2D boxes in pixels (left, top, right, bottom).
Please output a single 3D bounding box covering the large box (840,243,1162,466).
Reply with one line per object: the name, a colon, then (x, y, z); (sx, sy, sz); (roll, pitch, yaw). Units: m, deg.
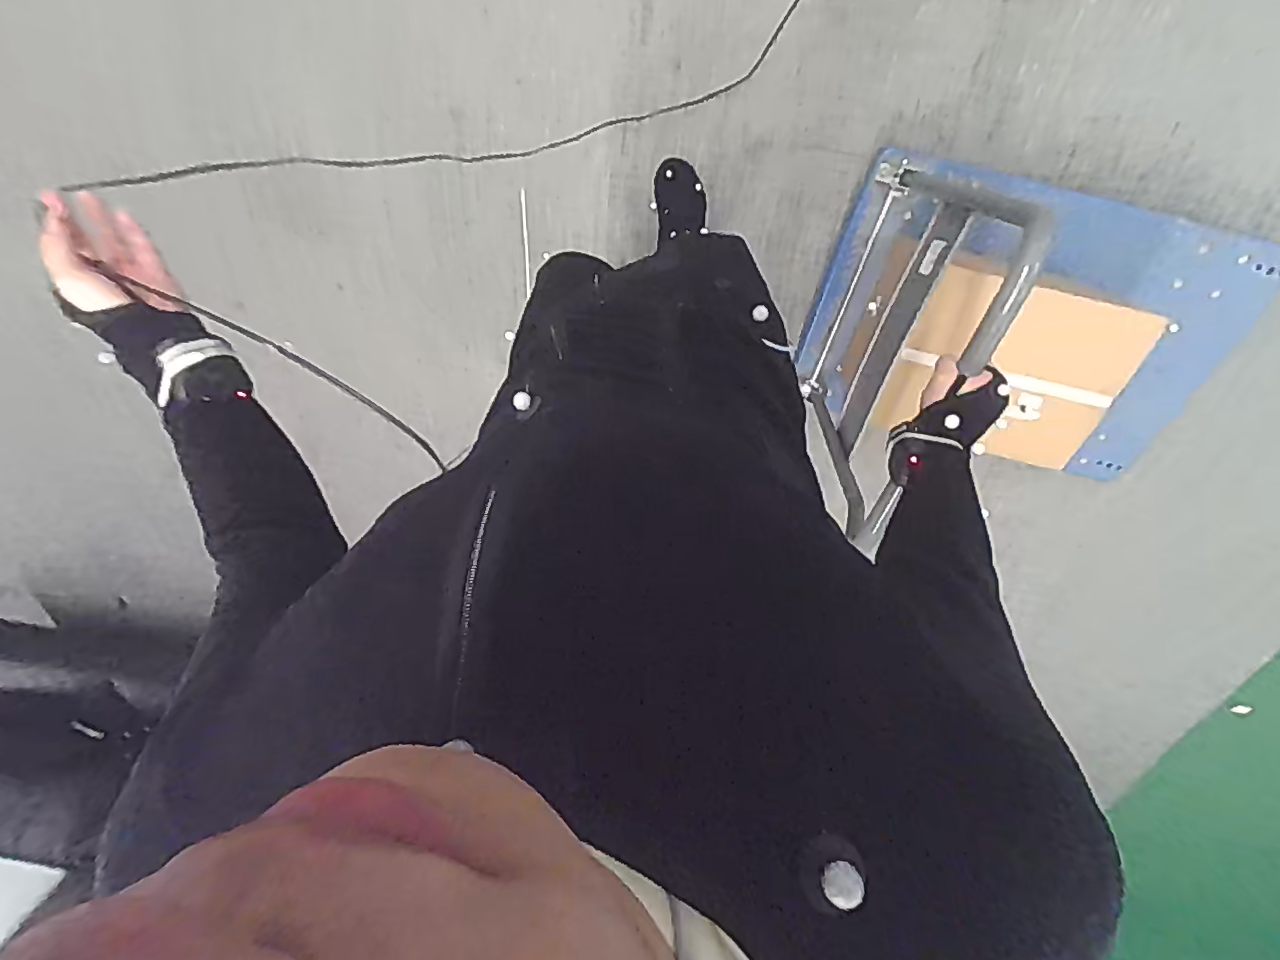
large box: (0.685, -0.274, 1.124); (0.408, 0.320, 0.320); (14, 124, 1)
